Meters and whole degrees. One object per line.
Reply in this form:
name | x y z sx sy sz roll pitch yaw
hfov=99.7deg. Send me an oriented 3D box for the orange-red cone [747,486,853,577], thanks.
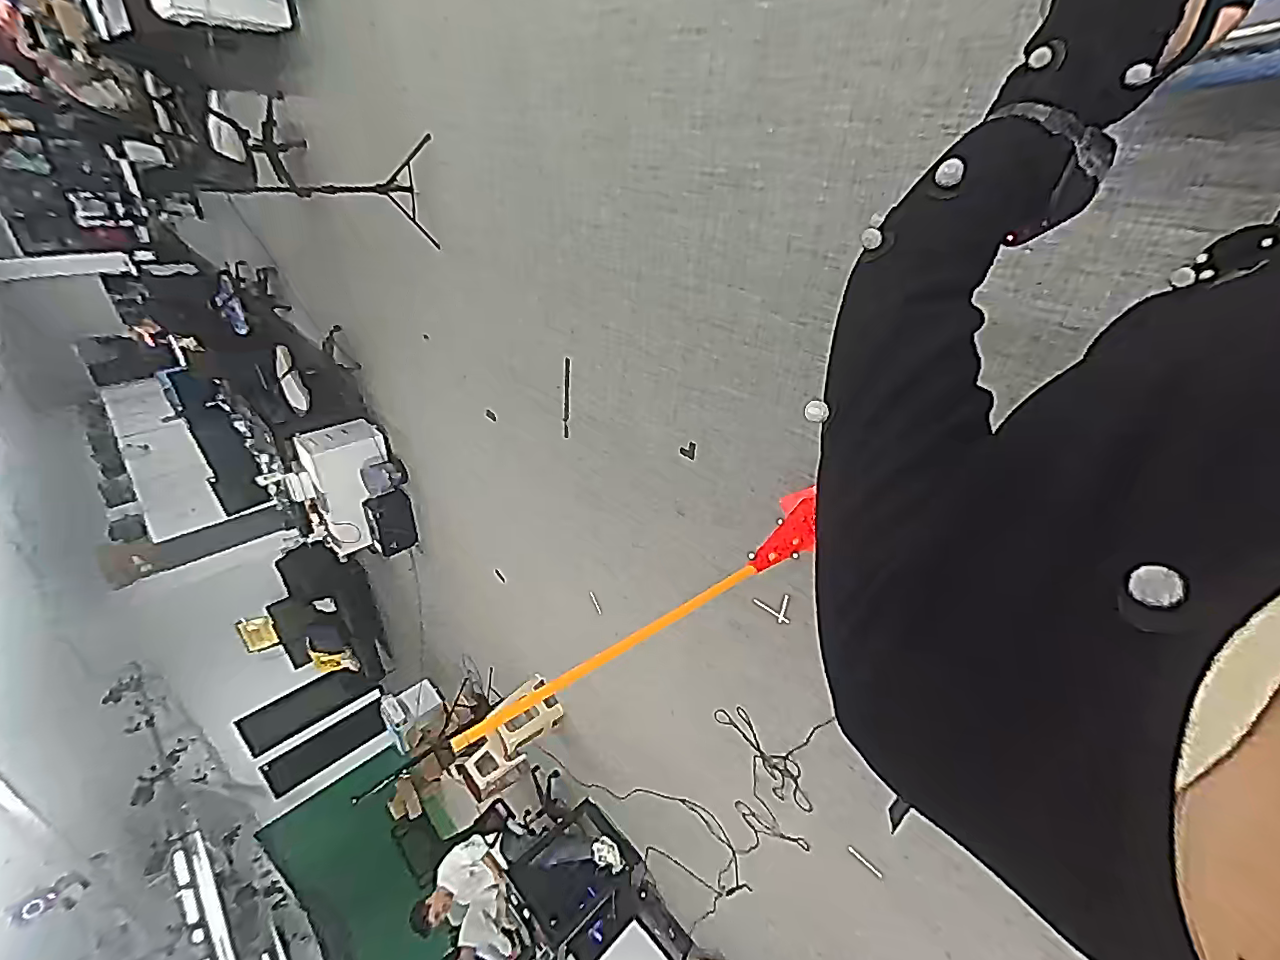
orange-red cone | 0.427 0.184 1.574 0.199 0.360 0.198 -28 89 51
